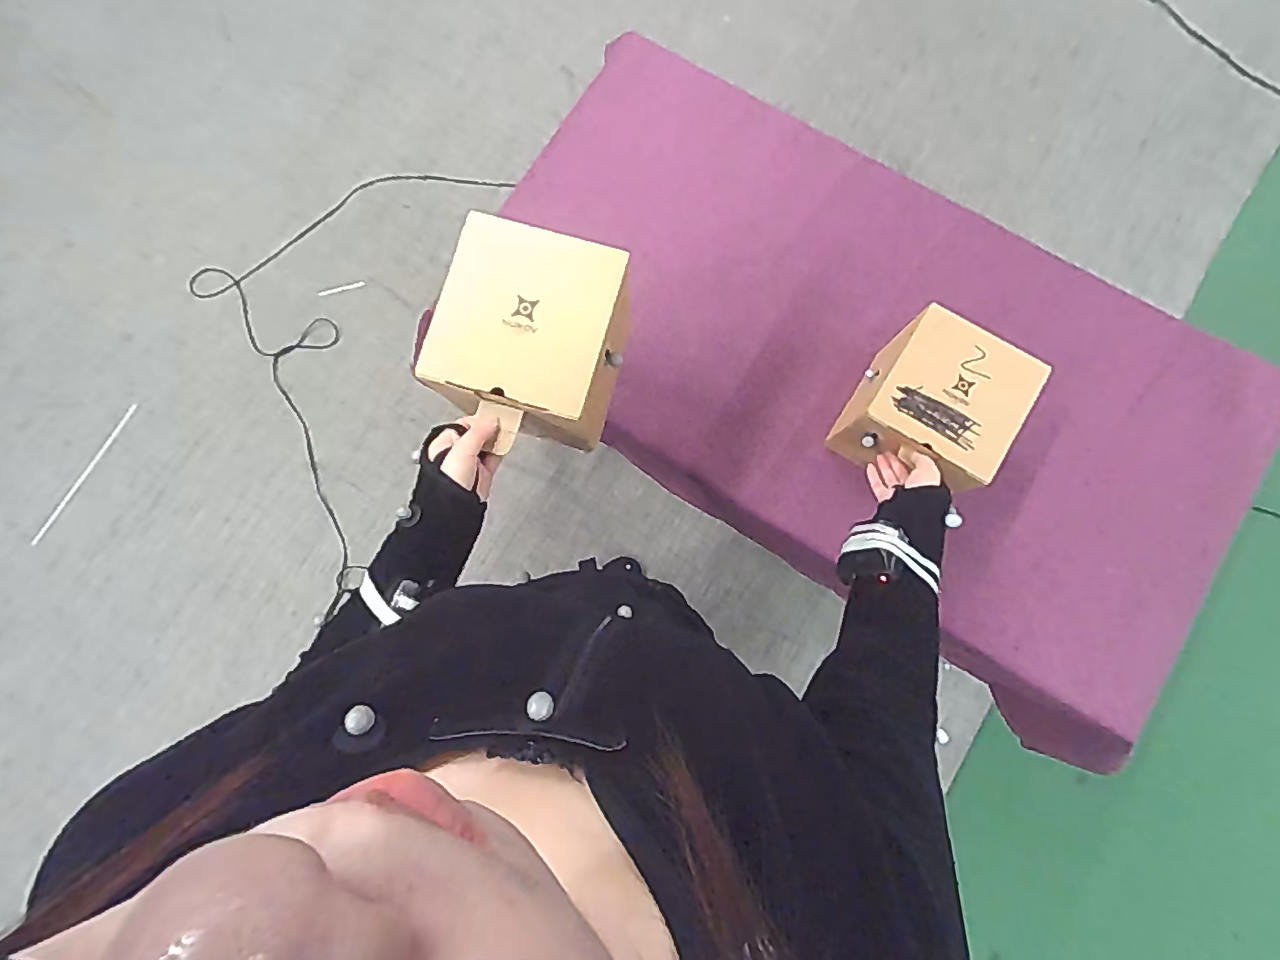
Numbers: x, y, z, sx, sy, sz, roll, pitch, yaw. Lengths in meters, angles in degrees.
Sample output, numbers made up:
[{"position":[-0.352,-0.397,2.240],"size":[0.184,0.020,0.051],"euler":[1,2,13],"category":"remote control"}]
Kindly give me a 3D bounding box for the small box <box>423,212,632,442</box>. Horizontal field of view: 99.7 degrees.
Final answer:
[{"position":[-0.112,-0.158,0.613],"size":[0.168,0.176,0.179],"euler":[16,84,2],"category":"small box"}]
